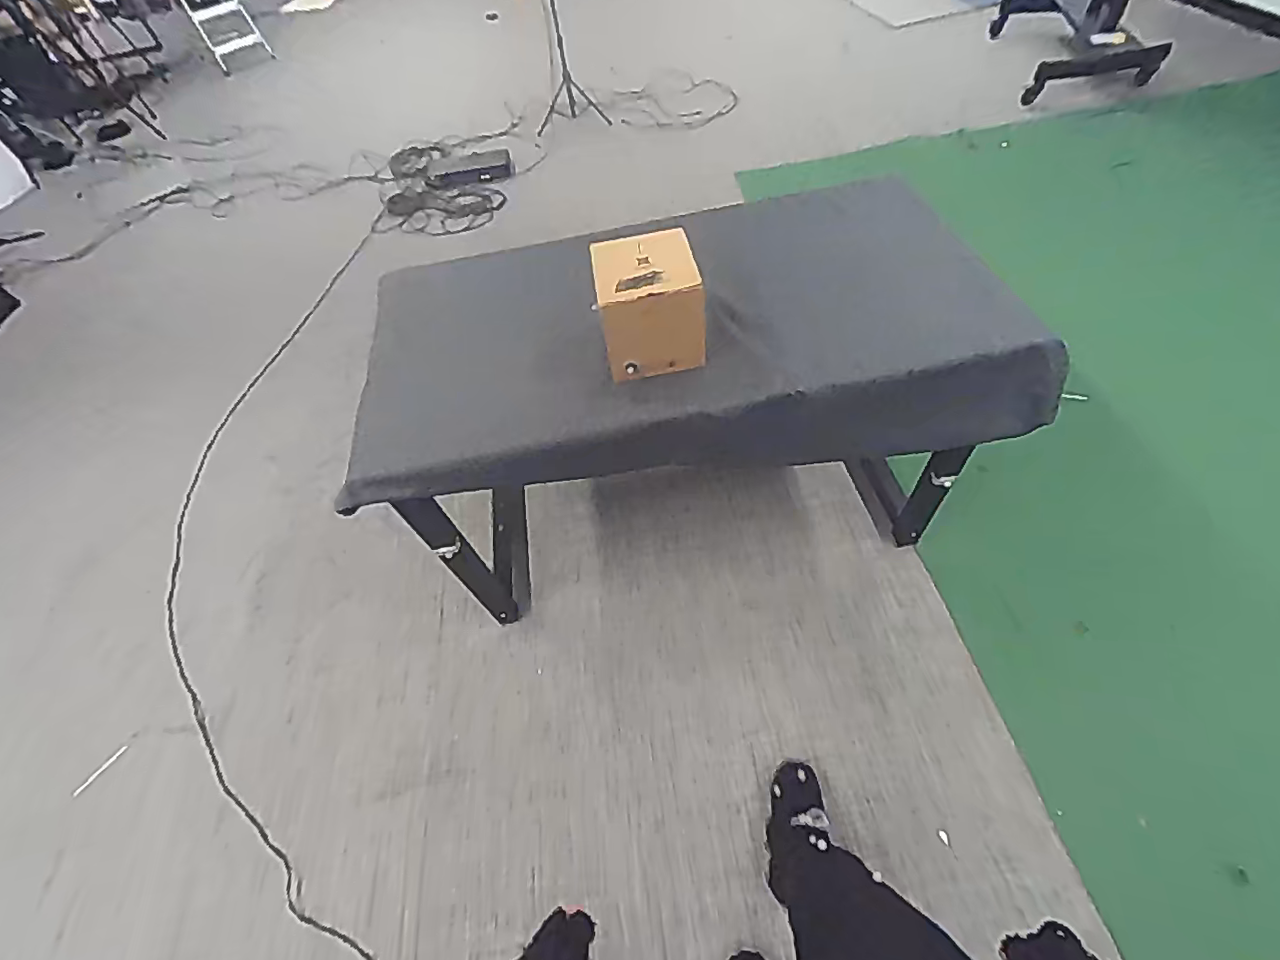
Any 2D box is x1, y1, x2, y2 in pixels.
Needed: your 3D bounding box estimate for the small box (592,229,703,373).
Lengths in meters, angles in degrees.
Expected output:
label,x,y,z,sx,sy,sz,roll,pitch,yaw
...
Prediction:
label,x,y,z,sx,sy,sz,roll,pitch,yaw
small box,0.015,-0.305,0.949,0.168,0.176,0.179,-10,53,1
